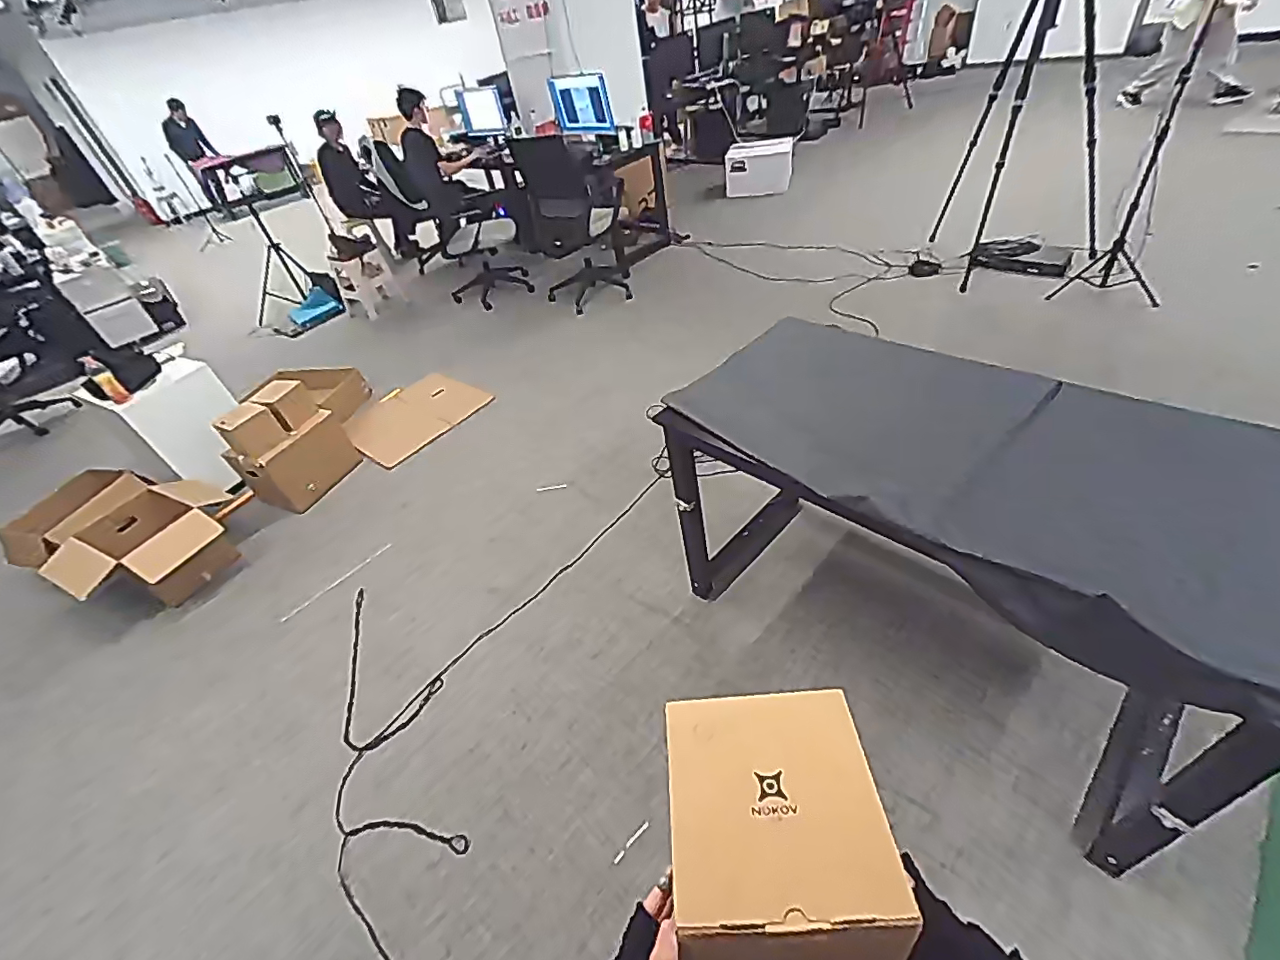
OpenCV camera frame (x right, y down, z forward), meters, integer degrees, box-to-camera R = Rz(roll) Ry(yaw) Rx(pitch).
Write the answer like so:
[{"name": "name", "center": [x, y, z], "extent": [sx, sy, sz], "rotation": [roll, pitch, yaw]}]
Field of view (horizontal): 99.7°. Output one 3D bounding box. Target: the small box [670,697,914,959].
[{"name": "small box", "center": [0.116, 0.326, 0.487], "extent": [0.168, 0.176, 0.179], "rotation": [-6, 35, 4]}]
